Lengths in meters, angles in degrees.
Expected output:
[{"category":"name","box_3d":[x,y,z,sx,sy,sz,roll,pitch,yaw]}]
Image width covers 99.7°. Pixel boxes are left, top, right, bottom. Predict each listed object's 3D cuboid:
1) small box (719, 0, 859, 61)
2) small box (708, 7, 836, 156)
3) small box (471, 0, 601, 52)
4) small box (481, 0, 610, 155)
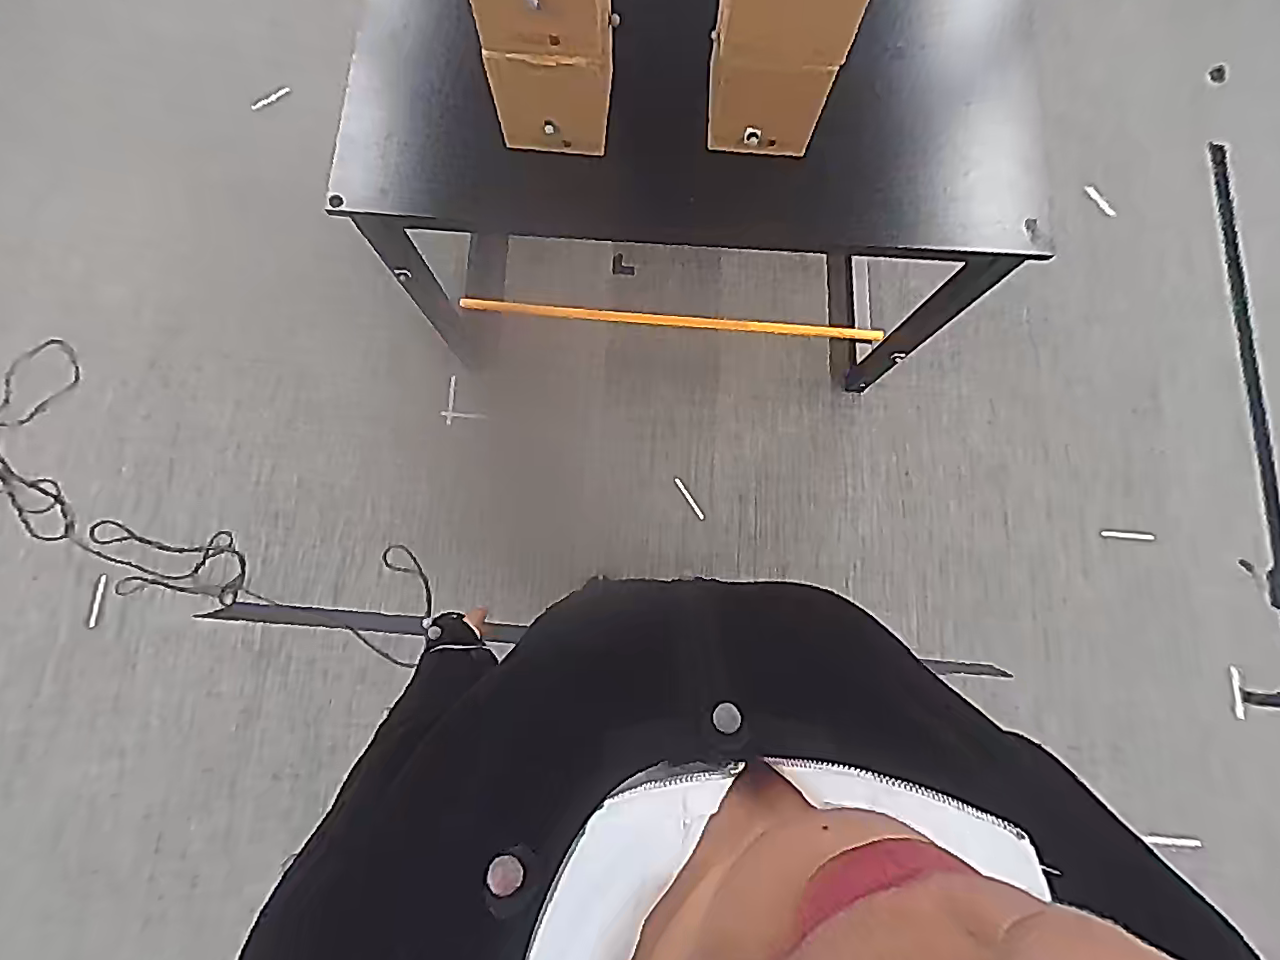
[{"category":"small box","box_3d":[0.198,-0.685,0.698,0.179,0.176,0.168,1,79,0]},{"category":"small box","box_3d":[0.200,-0.658,0.860,0.168,0.176,0.179,2,80,1]},{"category":"small box","box_3d":[-0.136,-0.695,0.691,0.168,0.176,0.179,2,80,-1]},{"category":"small box","box_3d":[-0.137,-0.656,0.851,0.168,0.176,0.179,5,79,0]}]
